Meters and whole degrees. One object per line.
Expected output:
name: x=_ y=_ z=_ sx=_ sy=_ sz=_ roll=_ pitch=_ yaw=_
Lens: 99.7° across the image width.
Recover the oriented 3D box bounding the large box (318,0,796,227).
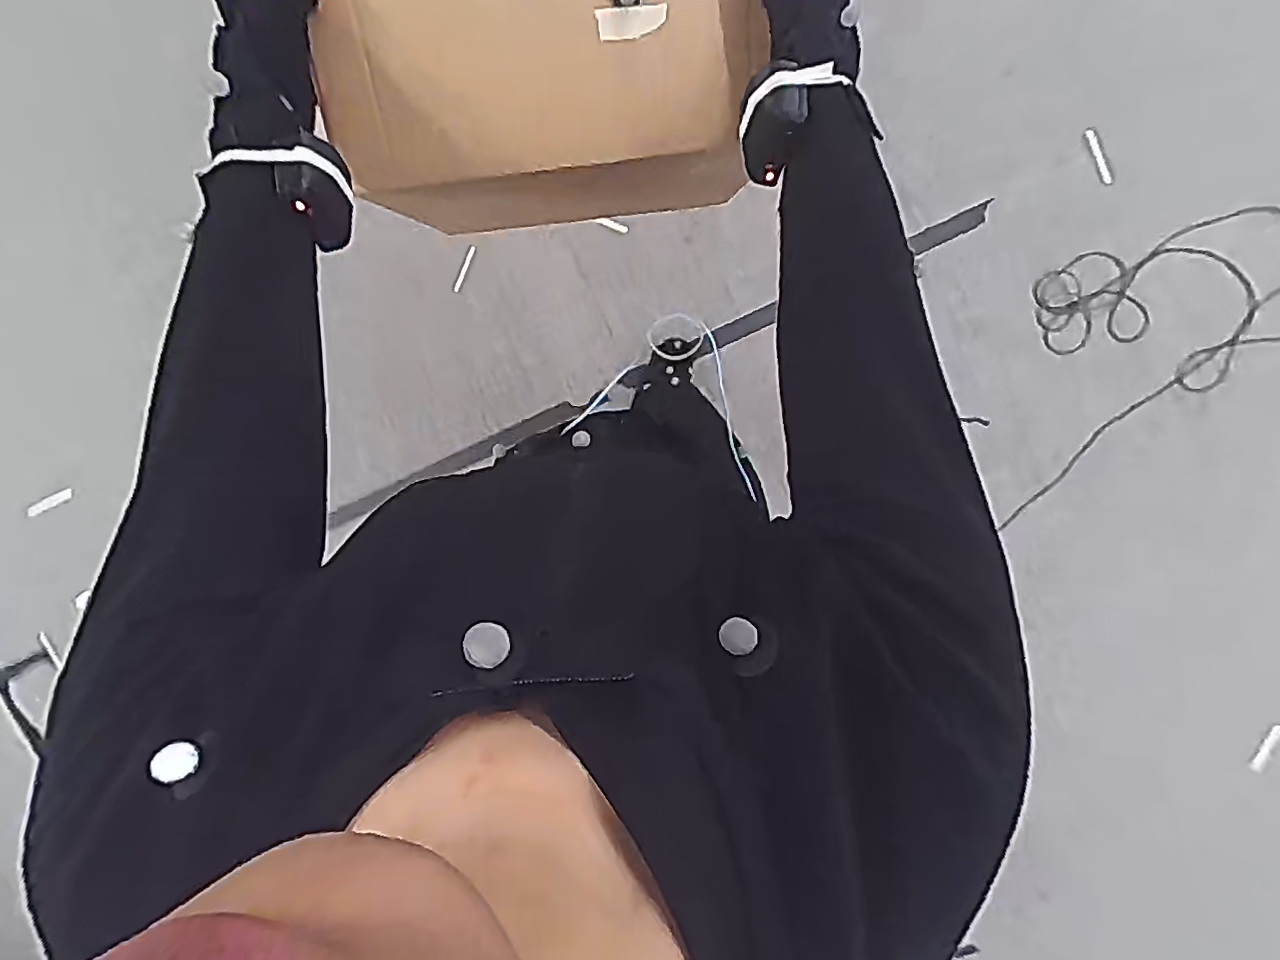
large box: x=-0.081 y=-0.484 z=0.584 sx=0.408 sy=0.320 sz=0.320 roll=-7 pitch=108 yaw=-1
